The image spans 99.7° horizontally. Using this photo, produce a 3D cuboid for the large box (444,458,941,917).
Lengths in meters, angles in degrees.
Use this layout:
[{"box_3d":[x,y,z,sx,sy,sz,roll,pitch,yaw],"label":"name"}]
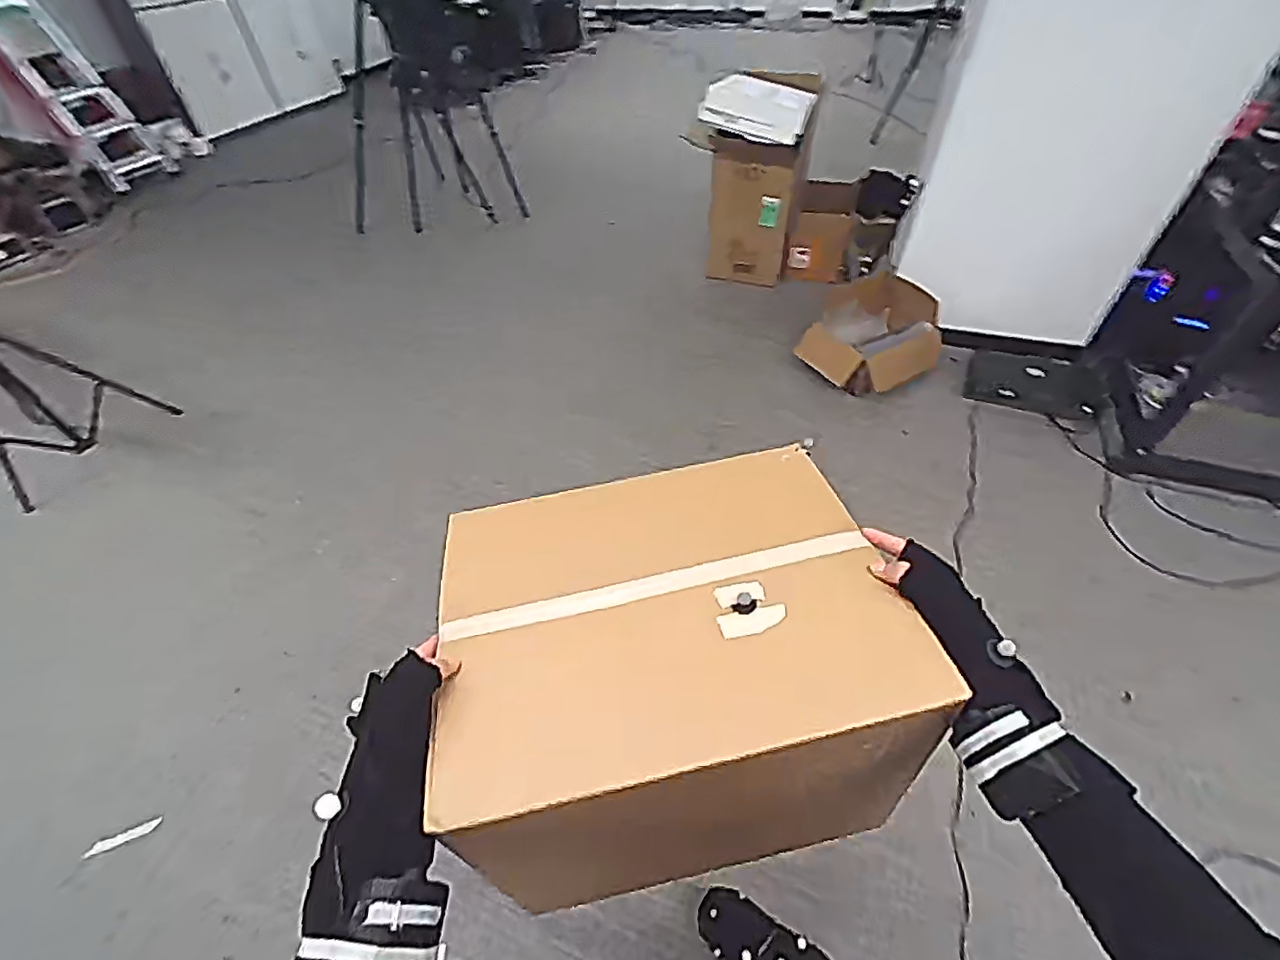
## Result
[{"box_3d":[0.030,0.222,0.614,0.408,0.320,0.320,-12,42,-5],"label":"large box"}]
